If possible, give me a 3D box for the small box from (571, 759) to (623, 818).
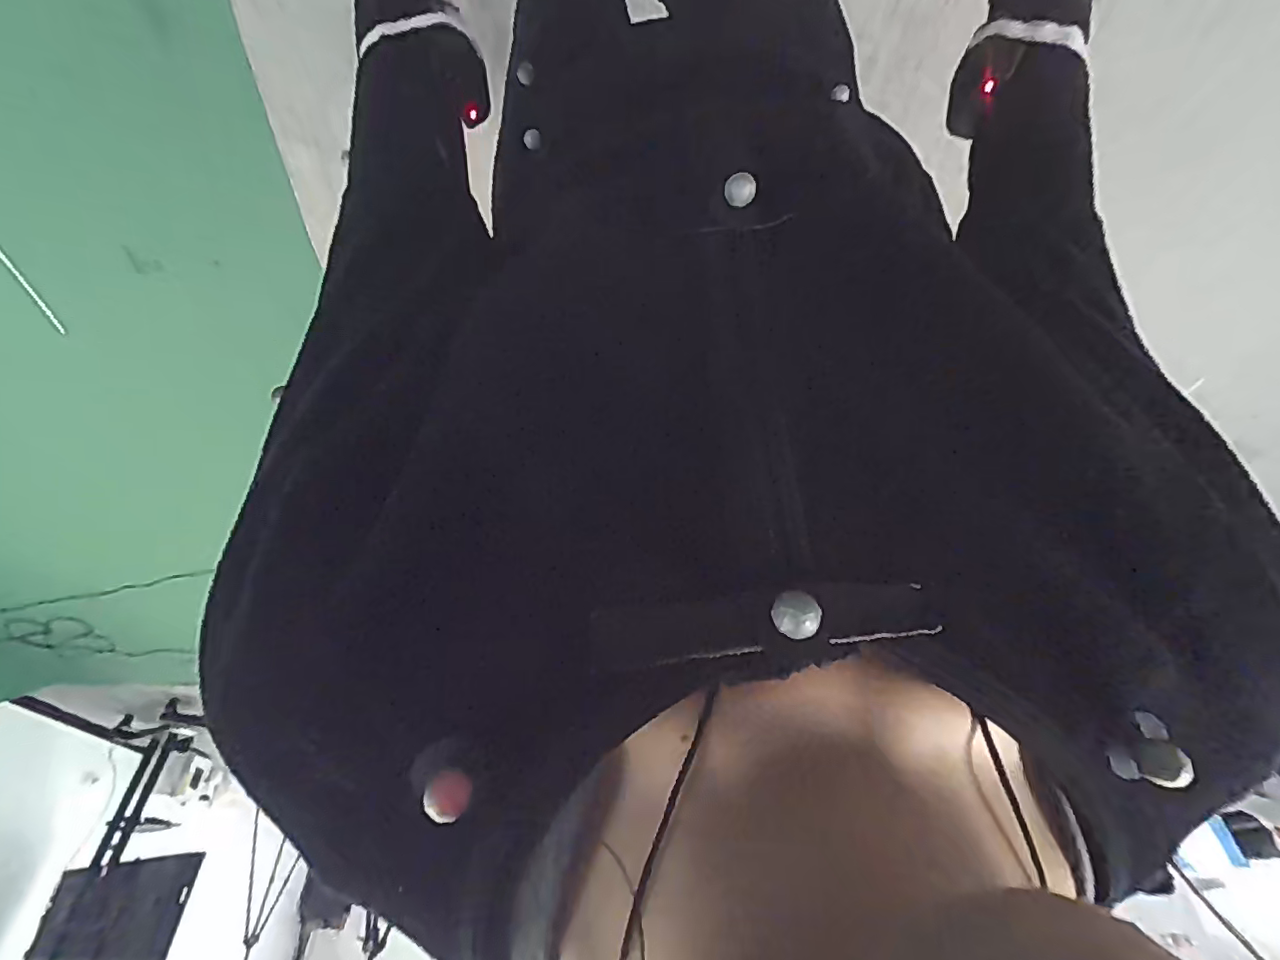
[{"bbox_3d":[-0.157,1.128,1.980,0.179,0.176,0.168,4,141,-7],"label":"small box"}]
